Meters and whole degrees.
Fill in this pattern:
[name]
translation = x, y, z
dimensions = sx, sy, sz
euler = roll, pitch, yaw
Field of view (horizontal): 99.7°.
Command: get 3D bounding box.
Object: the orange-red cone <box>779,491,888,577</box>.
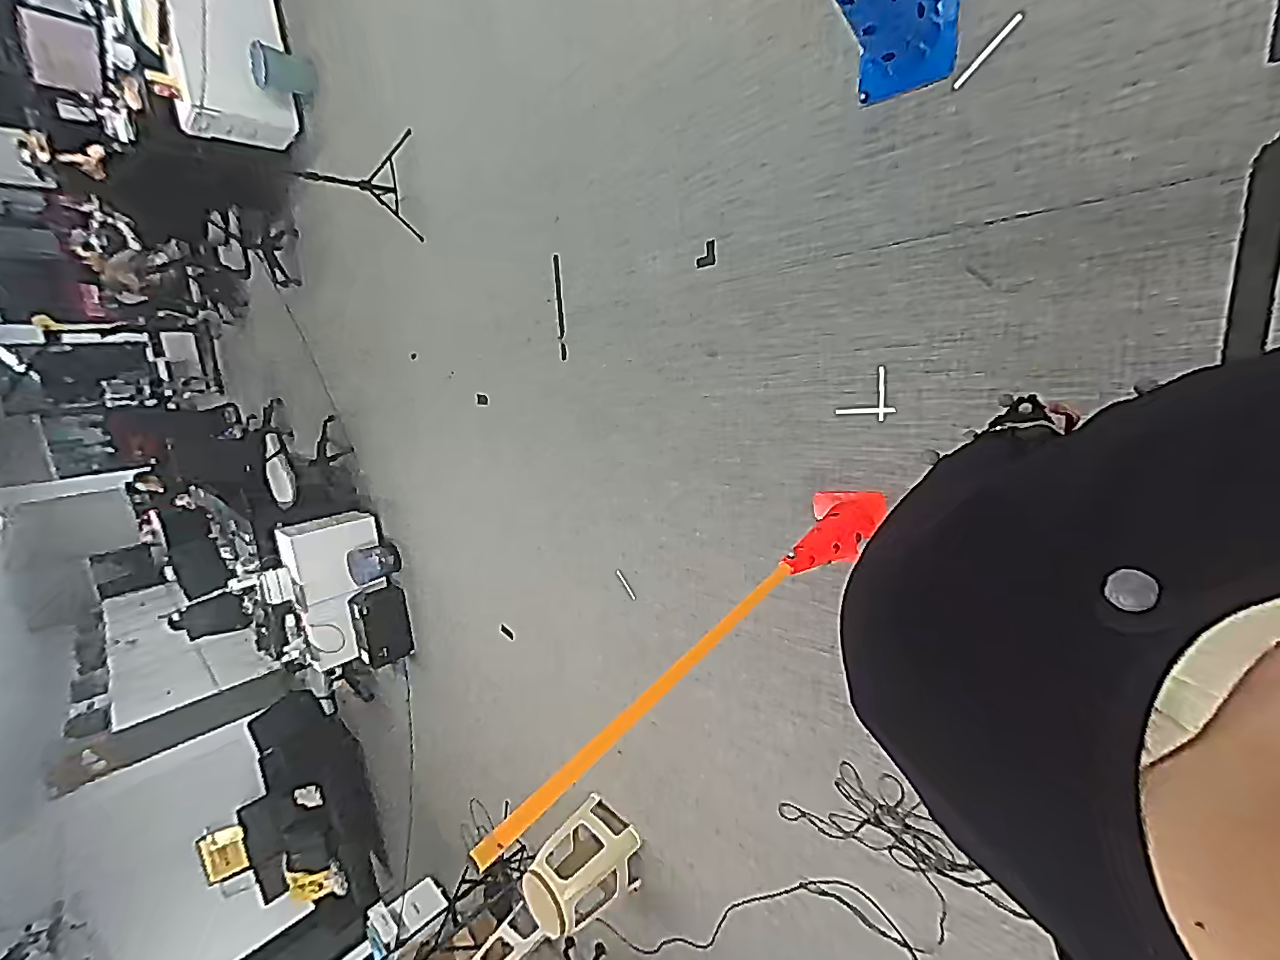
[orange-red cone]
translation = 0.450, 0.163, 1.343
dimensions = 0.199, 0.360, 0.198
euler = 0, 102, 44

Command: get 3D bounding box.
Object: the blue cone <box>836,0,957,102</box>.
[blue cone]
translation = 0.457, -0.906, 1.039
dimensions = 0.193, 0.380, 0.192
euler = 11, 110, 43
